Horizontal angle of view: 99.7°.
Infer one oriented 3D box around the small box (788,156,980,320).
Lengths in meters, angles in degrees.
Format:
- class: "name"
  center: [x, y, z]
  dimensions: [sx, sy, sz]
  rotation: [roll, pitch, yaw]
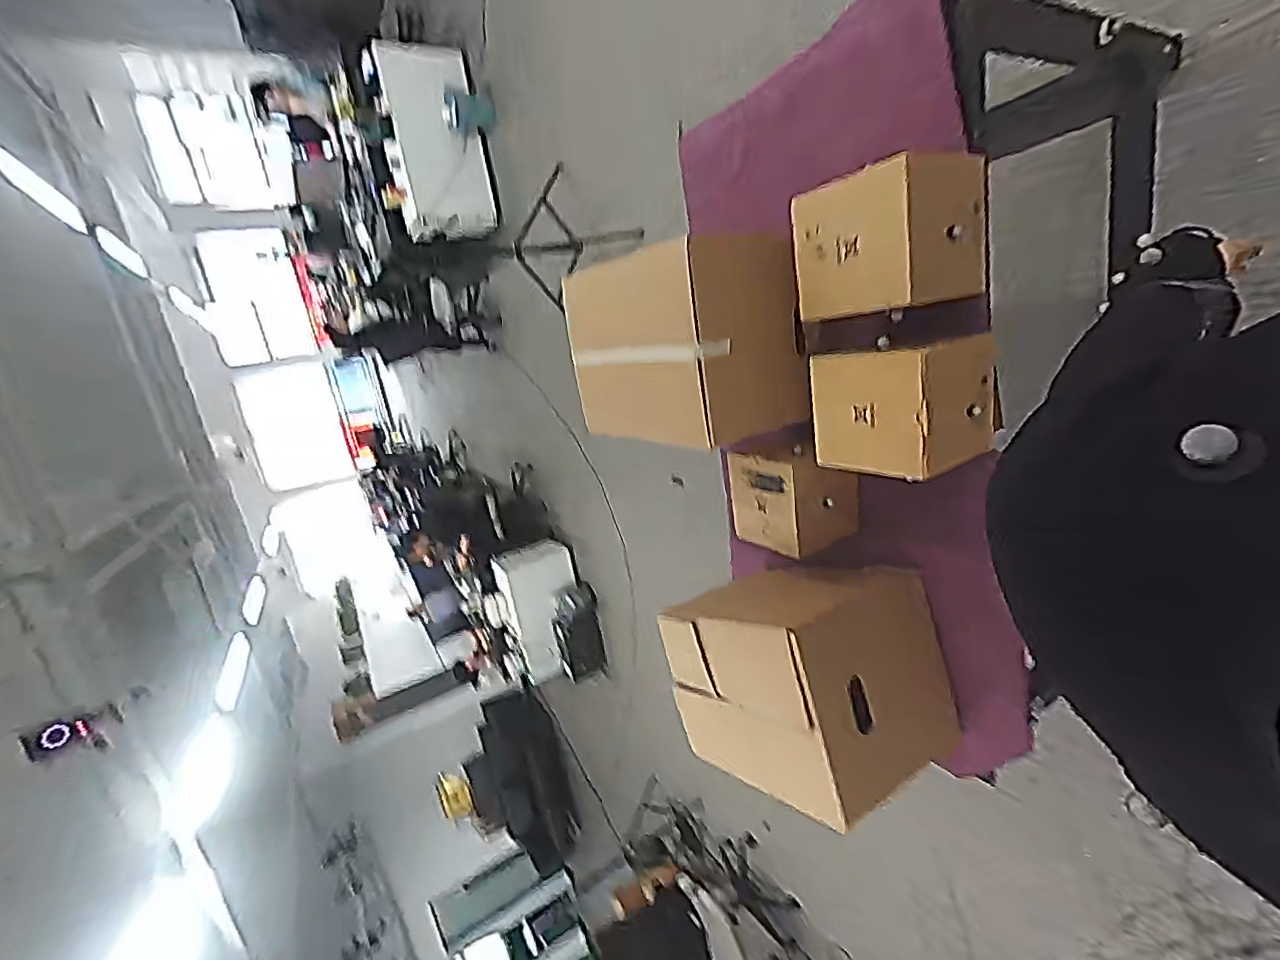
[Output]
- class: "small box"
  center: [0.329, -0.319, 0.729]
  dimensions: [0.179, 0.176, 0.168]
  rotation: [15, 118, 58]
